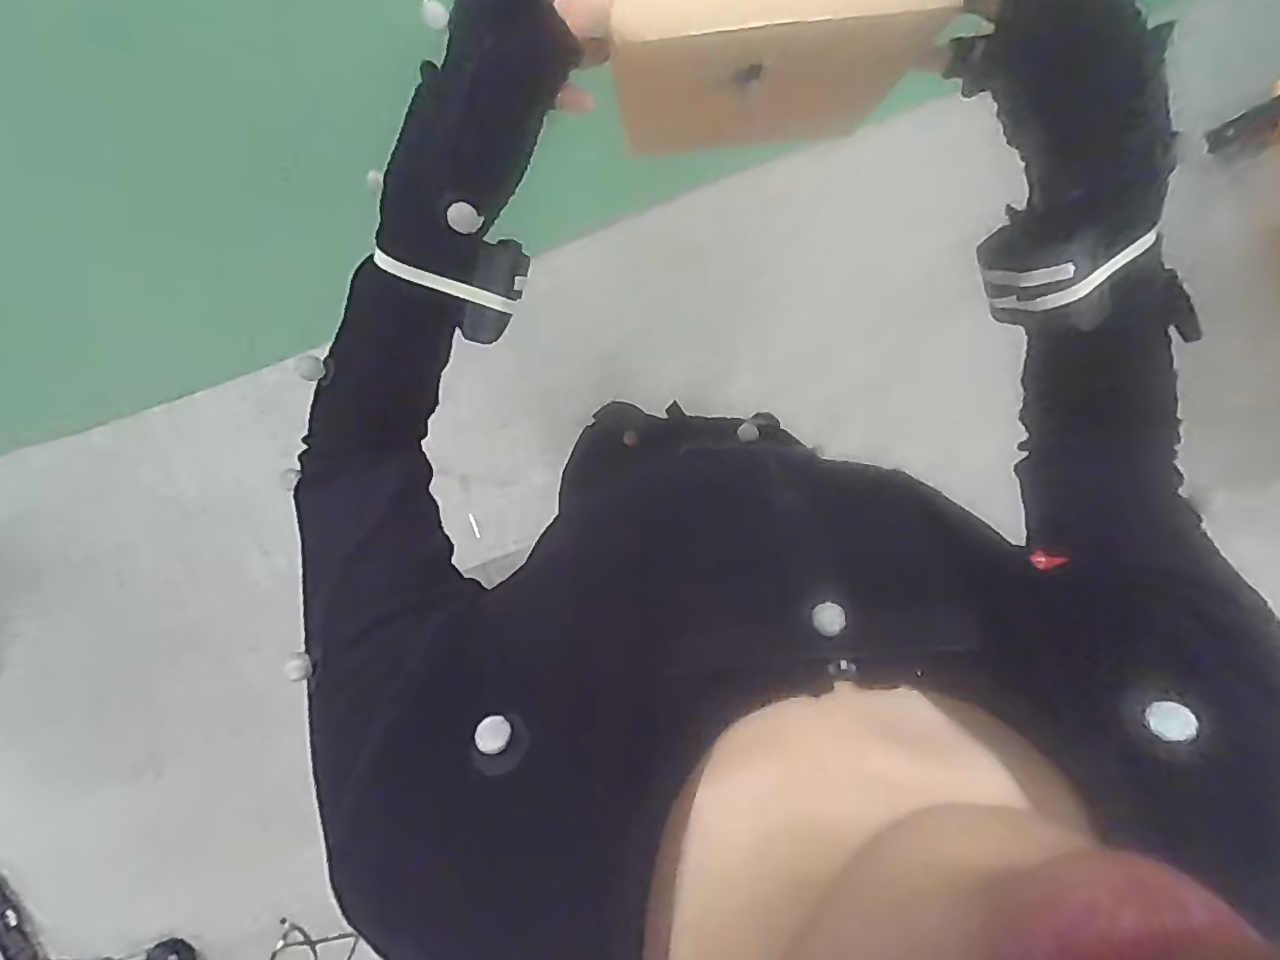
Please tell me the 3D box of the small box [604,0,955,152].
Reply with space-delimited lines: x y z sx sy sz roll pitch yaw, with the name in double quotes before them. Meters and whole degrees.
"small box" 0.070 -0.323 0.332 0.179 0.176 0.168 -3 104 3
